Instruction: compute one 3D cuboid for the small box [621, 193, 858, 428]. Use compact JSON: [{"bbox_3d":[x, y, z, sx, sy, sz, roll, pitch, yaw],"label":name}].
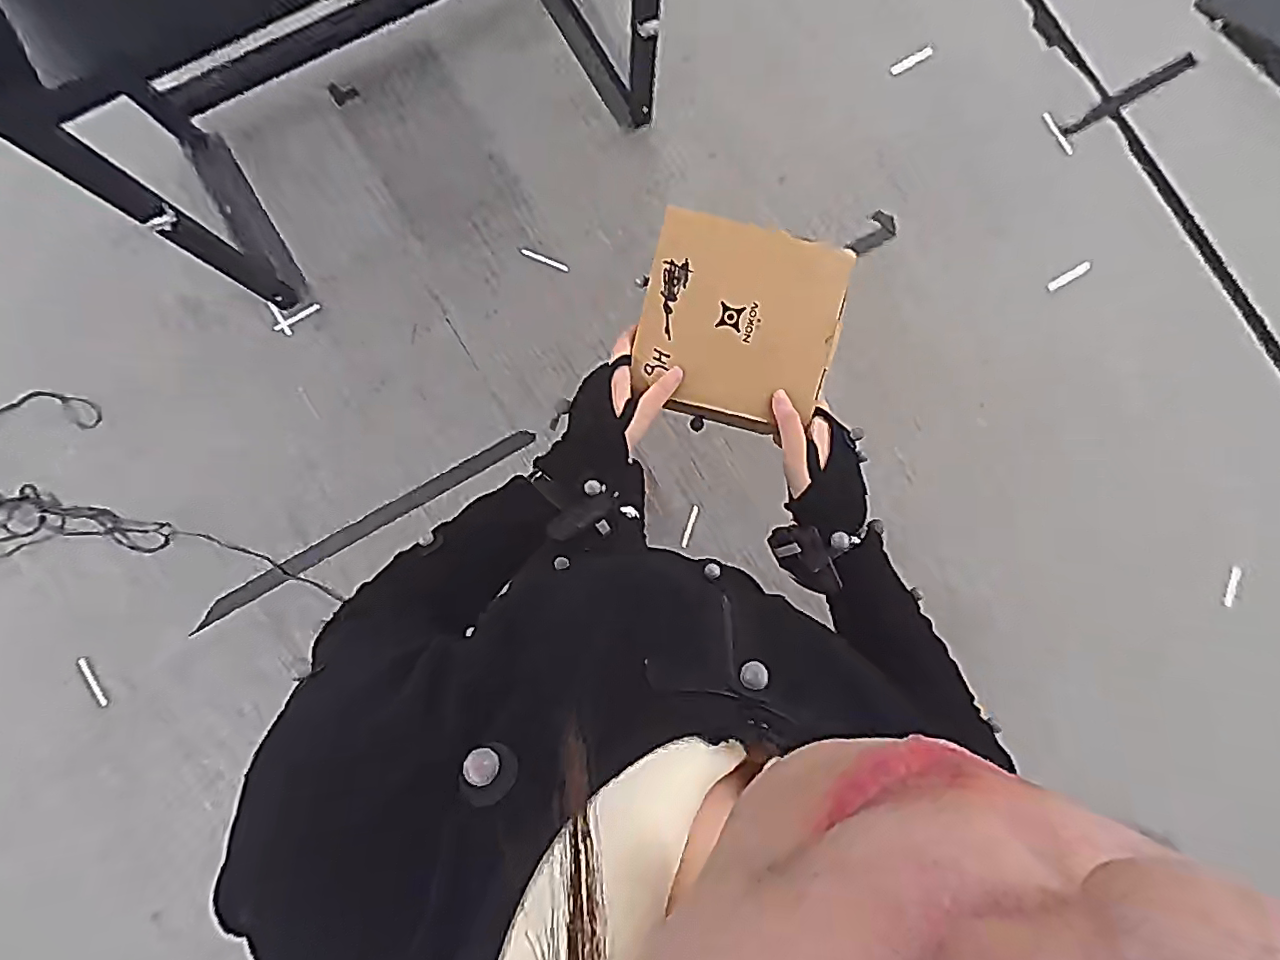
[{"bbox_3d":[0.084,-0.153,0.551,0.179,0.176,0.168,14,93,-3],"label":"small box"}]
